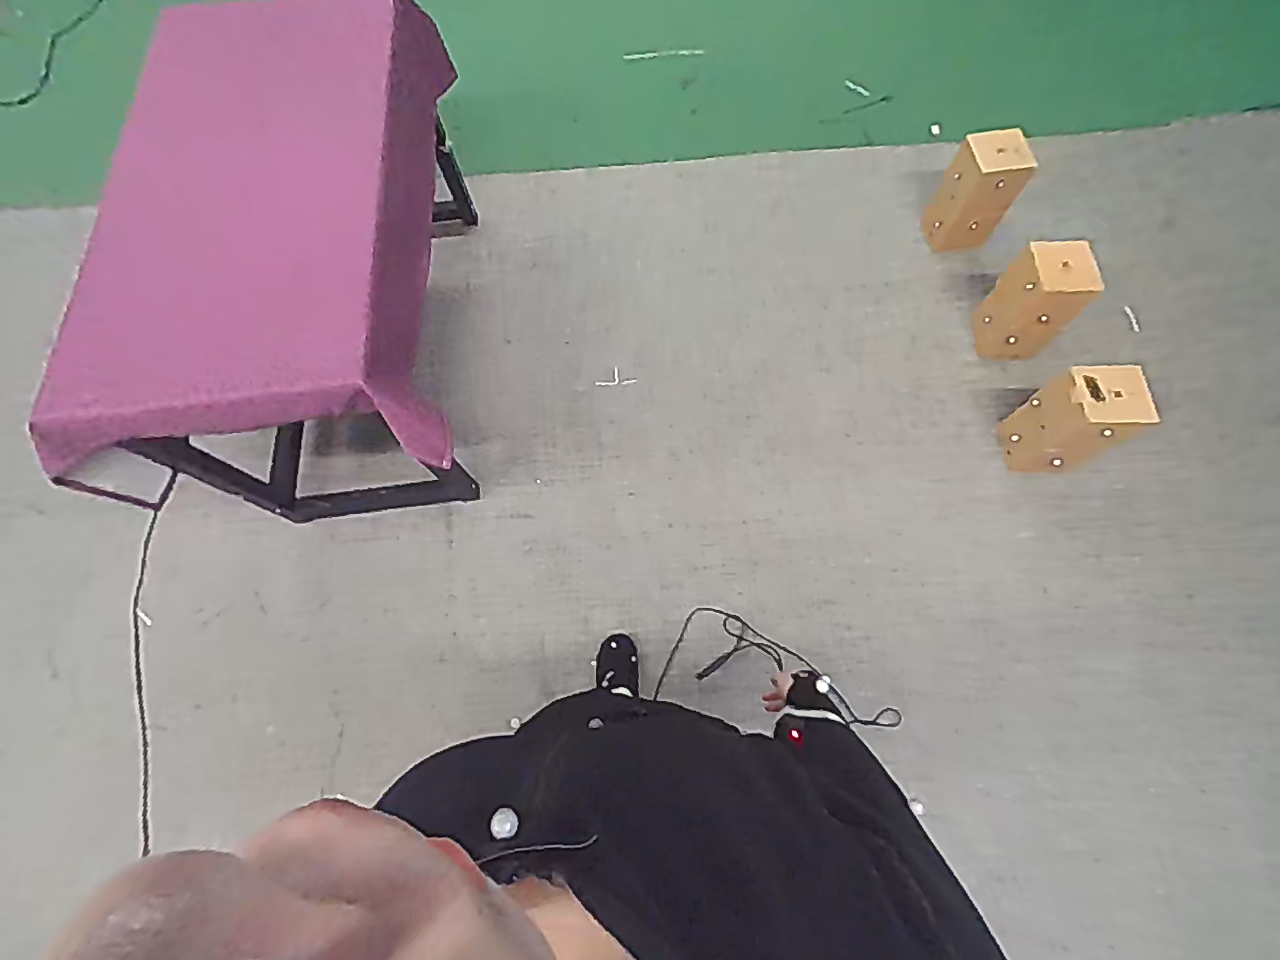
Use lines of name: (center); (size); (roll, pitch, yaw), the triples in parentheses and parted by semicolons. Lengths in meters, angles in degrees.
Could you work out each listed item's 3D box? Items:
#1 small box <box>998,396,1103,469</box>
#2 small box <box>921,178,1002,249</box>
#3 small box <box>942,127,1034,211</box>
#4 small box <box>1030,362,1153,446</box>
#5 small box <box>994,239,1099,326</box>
small box: (1.190, -0.137, 1.589); (0.179, 0.176, 0.168); (-2, 70, 2)
small box: (1.112, -0.935, 1.892); (0.179, 0.176, 0.168); (-5, 70, 0)
small box: (1.103, -0.993, 1.738); (0.179, 0.176, 0.168); (-6, 70, 0)
small box: (1.179, -0.196, 1.435); (0.179, 0.176, 0.168); (0, 70, 1)
small box: (1.175, -0.575, 1.579); (0.168, 0.176, 0.179); (0, 69, 1)
